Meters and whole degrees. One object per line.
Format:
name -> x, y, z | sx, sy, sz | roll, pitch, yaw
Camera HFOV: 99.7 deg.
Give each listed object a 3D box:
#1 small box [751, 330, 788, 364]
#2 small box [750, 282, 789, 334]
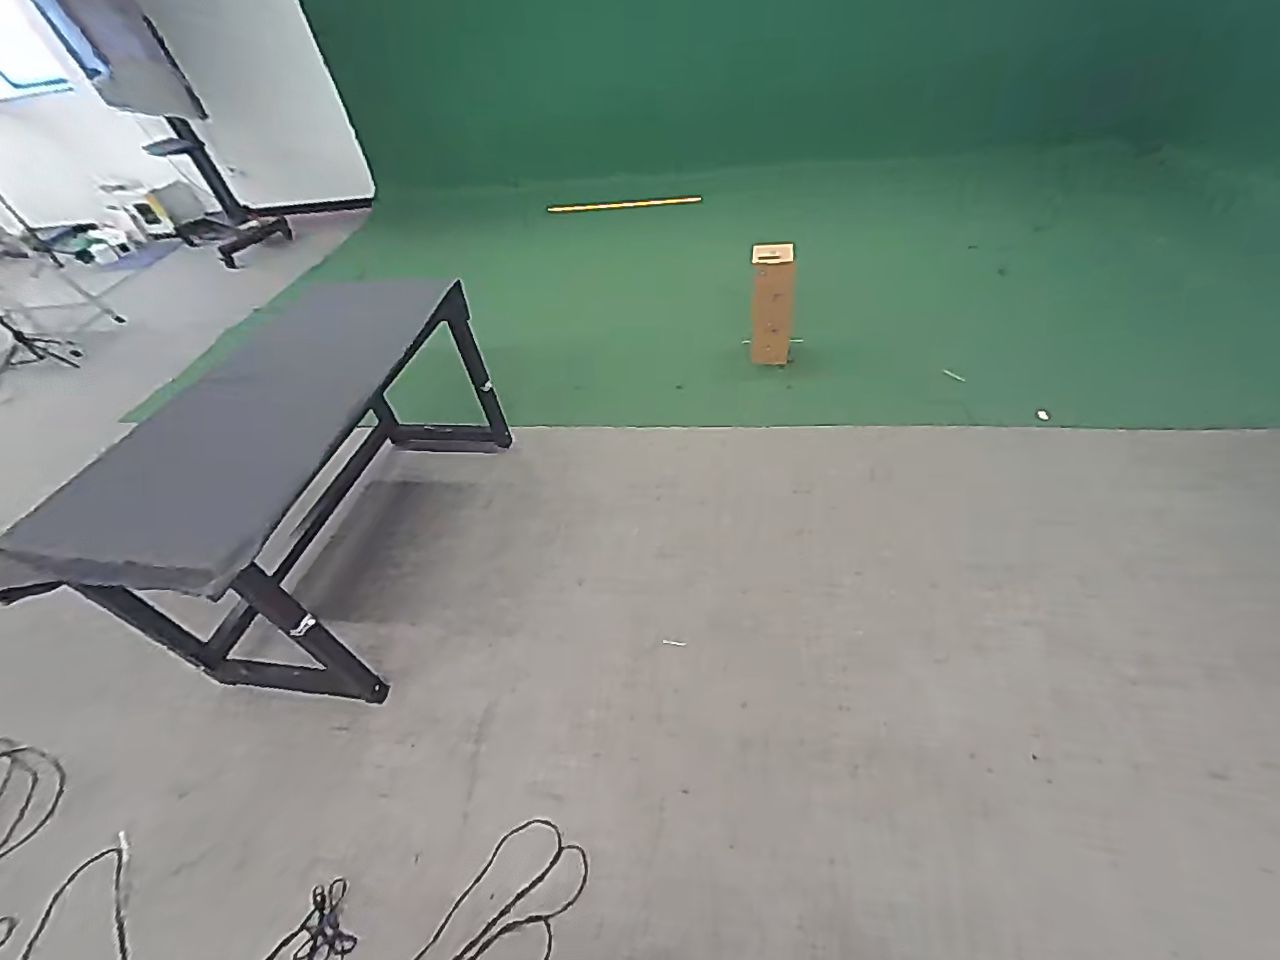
small box -> 0.610, -0.658, 2.551 | 0.168, 0.176, 0.179 | 0, 45, 12
small box -> 0.584, -0.774, 2.436 | 0.168, 0.176, 0.179 | 2, 46, 14
